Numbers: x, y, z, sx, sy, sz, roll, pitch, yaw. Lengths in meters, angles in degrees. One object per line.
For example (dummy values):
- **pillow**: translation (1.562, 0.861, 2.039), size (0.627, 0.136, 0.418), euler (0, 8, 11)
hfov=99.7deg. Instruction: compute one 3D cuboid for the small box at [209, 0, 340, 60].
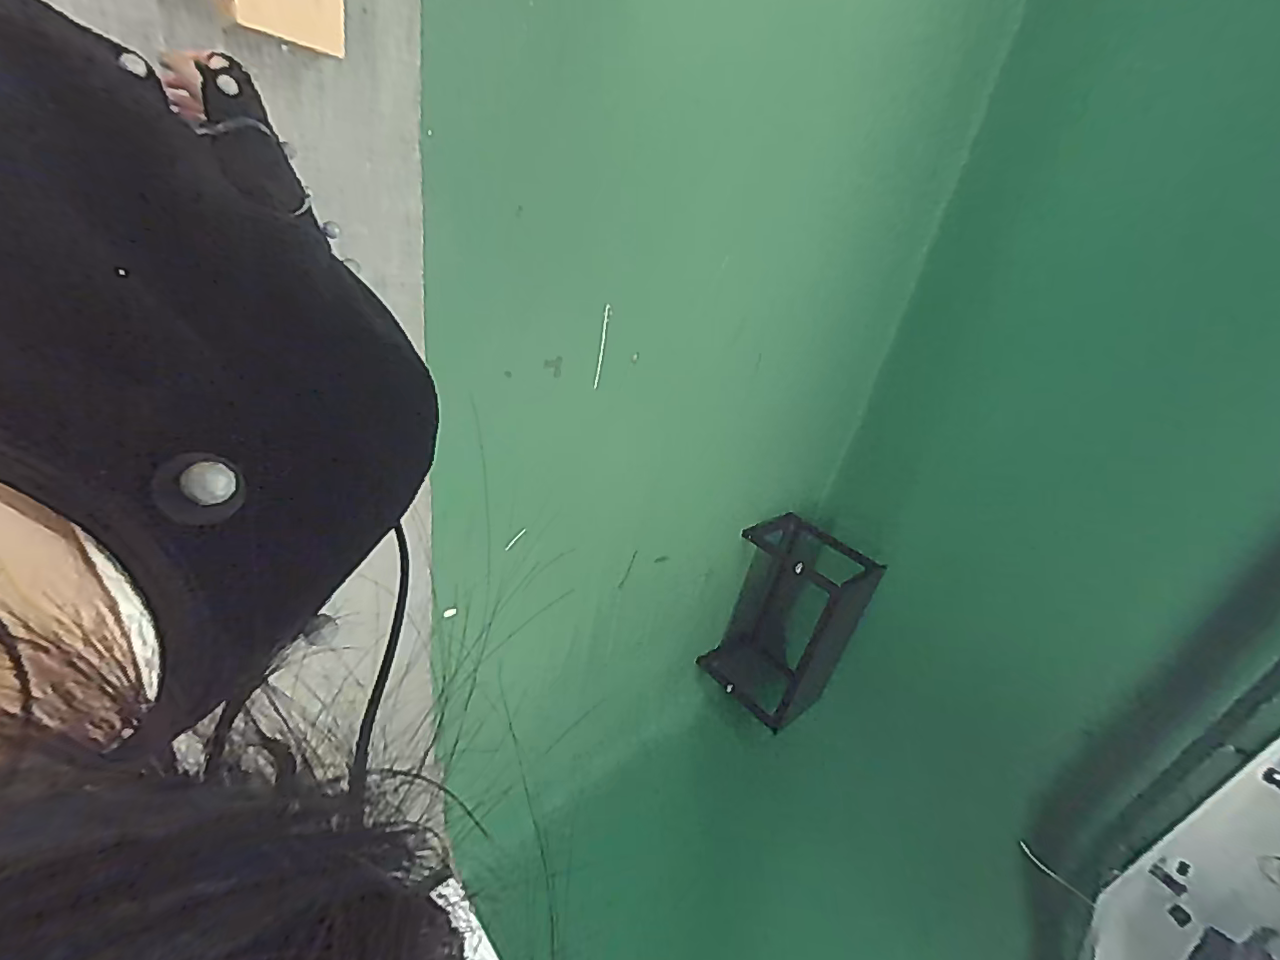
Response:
- **small box**: translation (-0.666, -0.890, 0.981), size (0.179, 0.176, 0.168), euler (-13, 127, -43)
